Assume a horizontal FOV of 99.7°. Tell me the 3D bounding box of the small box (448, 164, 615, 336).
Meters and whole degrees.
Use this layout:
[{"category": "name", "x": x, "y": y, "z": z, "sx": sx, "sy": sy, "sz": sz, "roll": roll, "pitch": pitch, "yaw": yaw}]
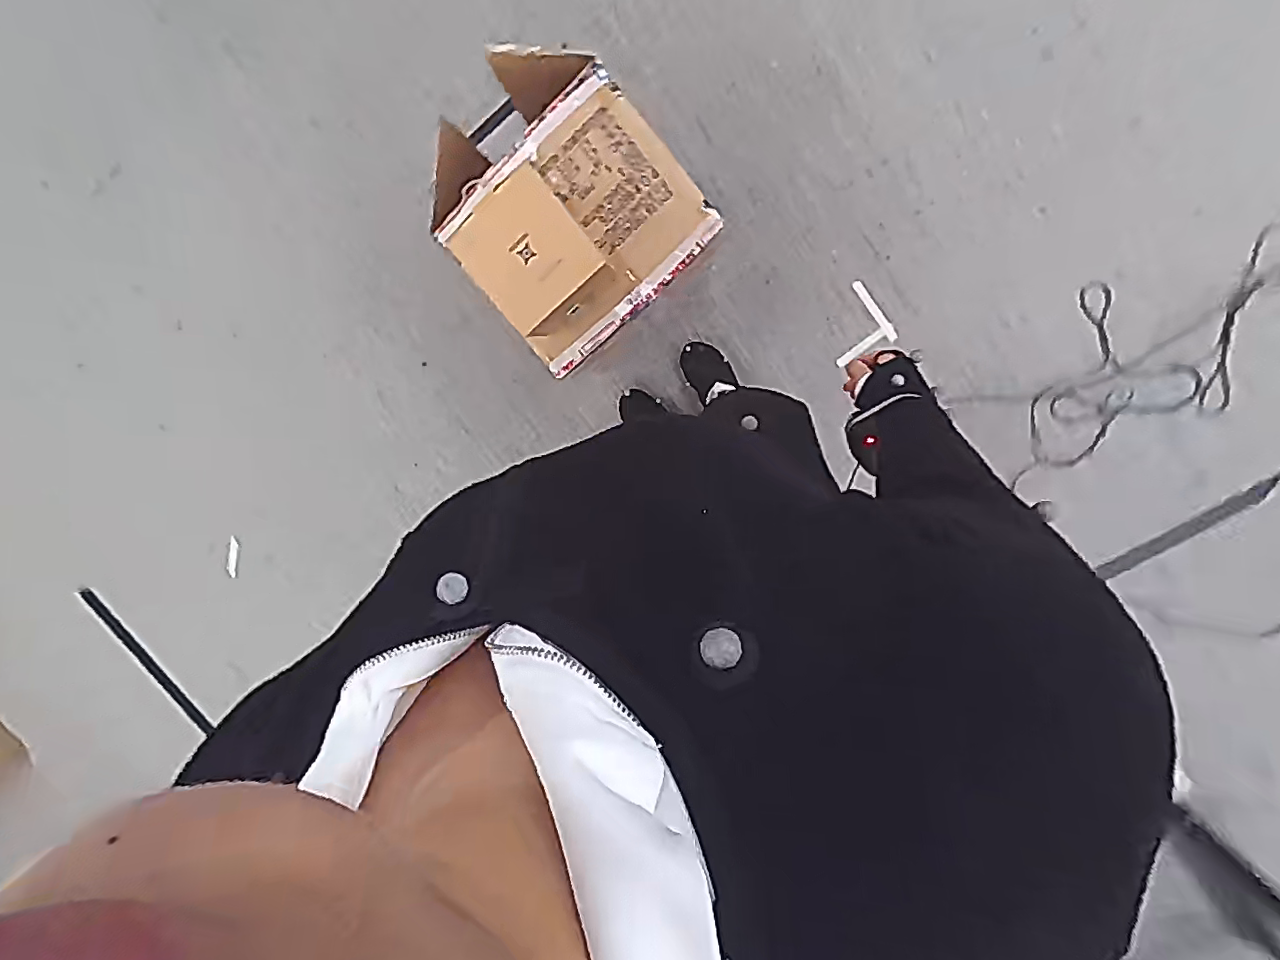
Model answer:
[{"category": "small box", "x": -0.158, "y": -0.345, "z": 0.851, "sx": 0.168, "sy": 0.176, "sz": 0.179, "roll": -39, "pitch": 100, "yaw": 13}]
